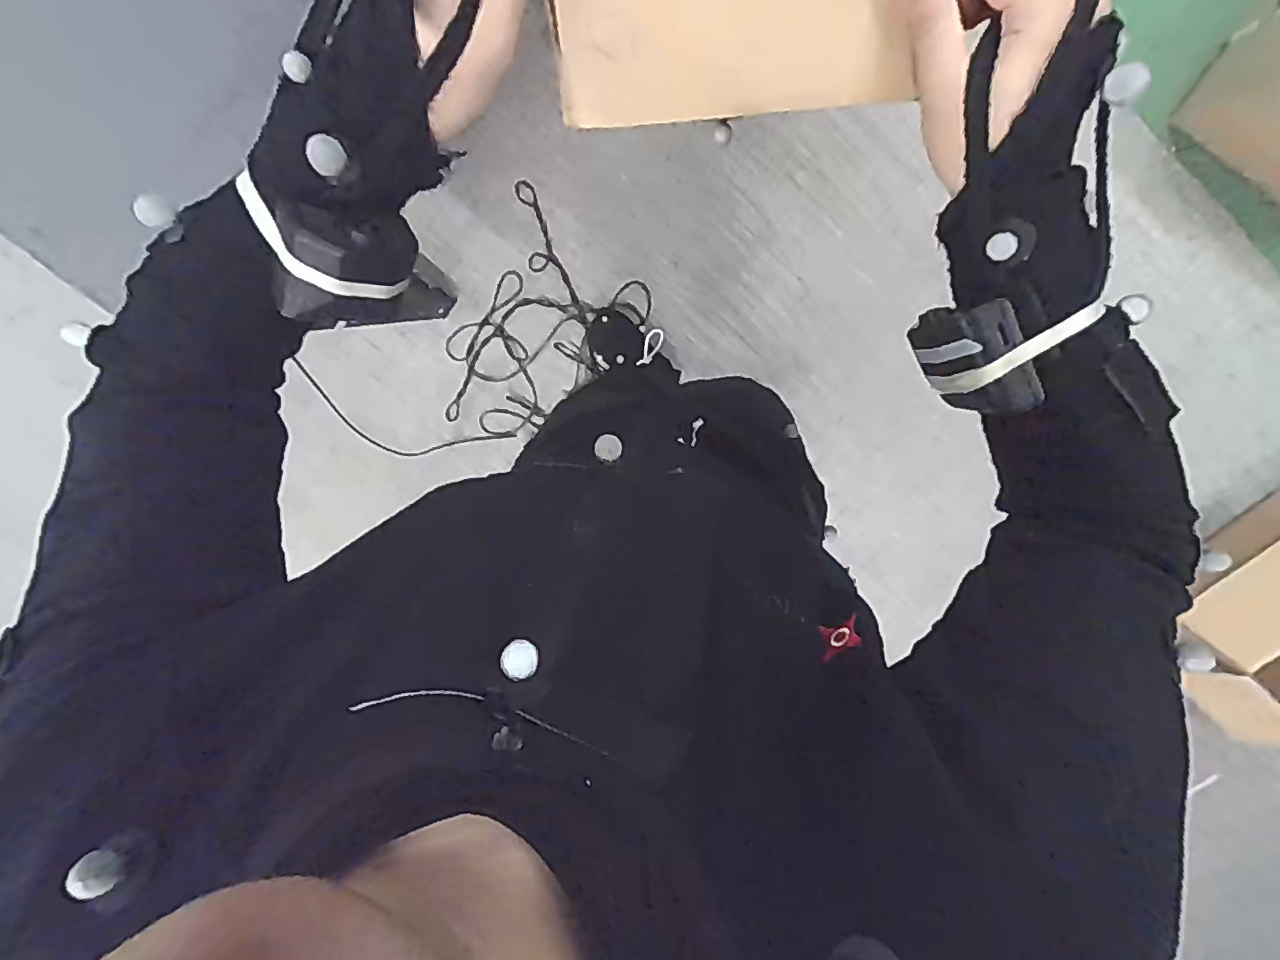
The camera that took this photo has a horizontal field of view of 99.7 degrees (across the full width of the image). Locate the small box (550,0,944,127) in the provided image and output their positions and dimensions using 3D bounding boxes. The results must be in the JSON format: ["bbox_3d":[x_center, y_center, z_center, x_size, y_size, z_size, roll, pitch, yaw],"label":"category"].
[{"bbox_3d":[0.044,-0.287,0.283,0.179,0.176,0.168,-4,125,1],"label":"small box"}]
